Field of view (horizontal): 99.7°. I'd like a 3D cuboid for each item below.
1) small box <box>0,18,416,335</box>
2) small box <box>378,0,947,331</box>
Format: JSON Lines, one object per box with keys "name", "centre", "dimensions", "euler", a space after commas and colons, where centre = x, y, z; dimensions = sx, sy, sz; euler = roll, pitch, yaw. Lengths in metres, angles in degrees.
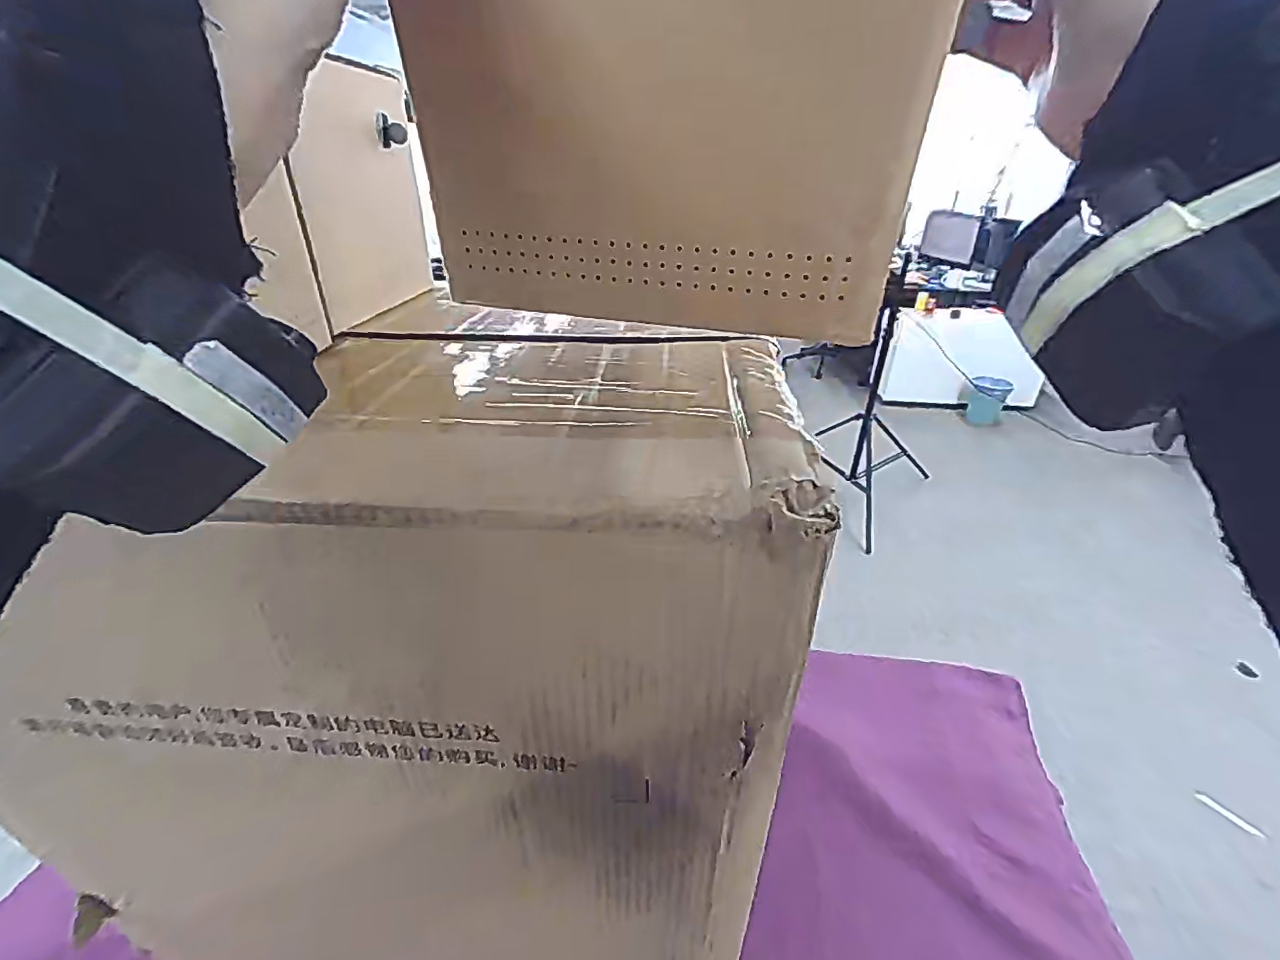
{"name": "small box", "centre": [-0.288, -0.217, 0.406], "dimensions": [0.168, 0.176, 0.179], "euler": [3, 30, 4]}
{"name": "small box", "centre": [0.022, -0.173, 0.222], "dimensions": [0.179, 0.176, 0.168], "euler": [10, 39, 16]}
